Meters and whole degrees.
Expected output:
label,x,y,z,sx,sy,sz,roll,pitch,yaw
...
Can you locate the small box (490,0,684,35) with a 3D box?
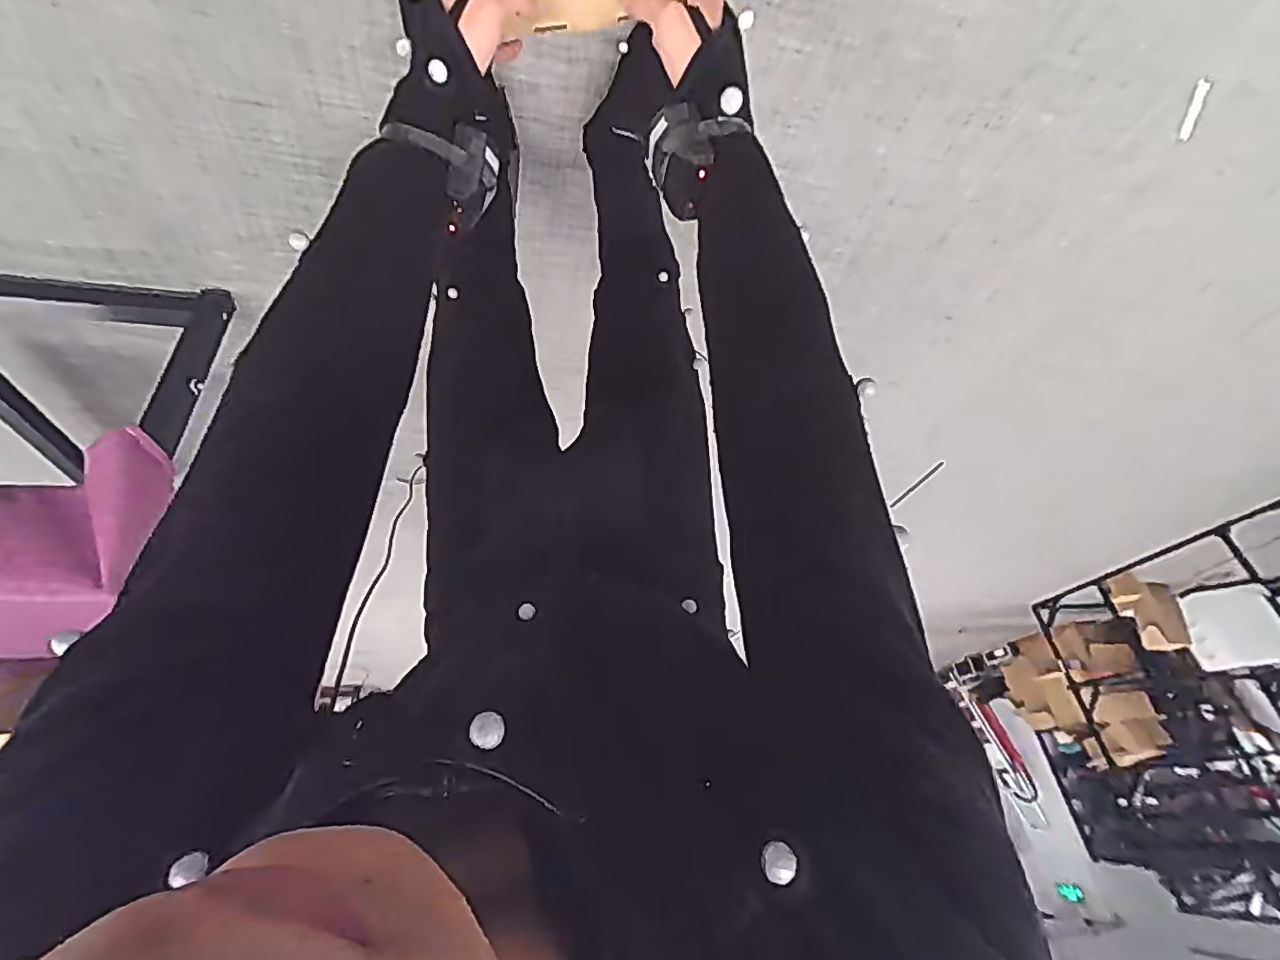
label,x,y,z,sx,sy,sz,roll,pitch,yaw
small box,-0.052,-0.506,0.437,0.168,0.176,0.179,-5,146,4
